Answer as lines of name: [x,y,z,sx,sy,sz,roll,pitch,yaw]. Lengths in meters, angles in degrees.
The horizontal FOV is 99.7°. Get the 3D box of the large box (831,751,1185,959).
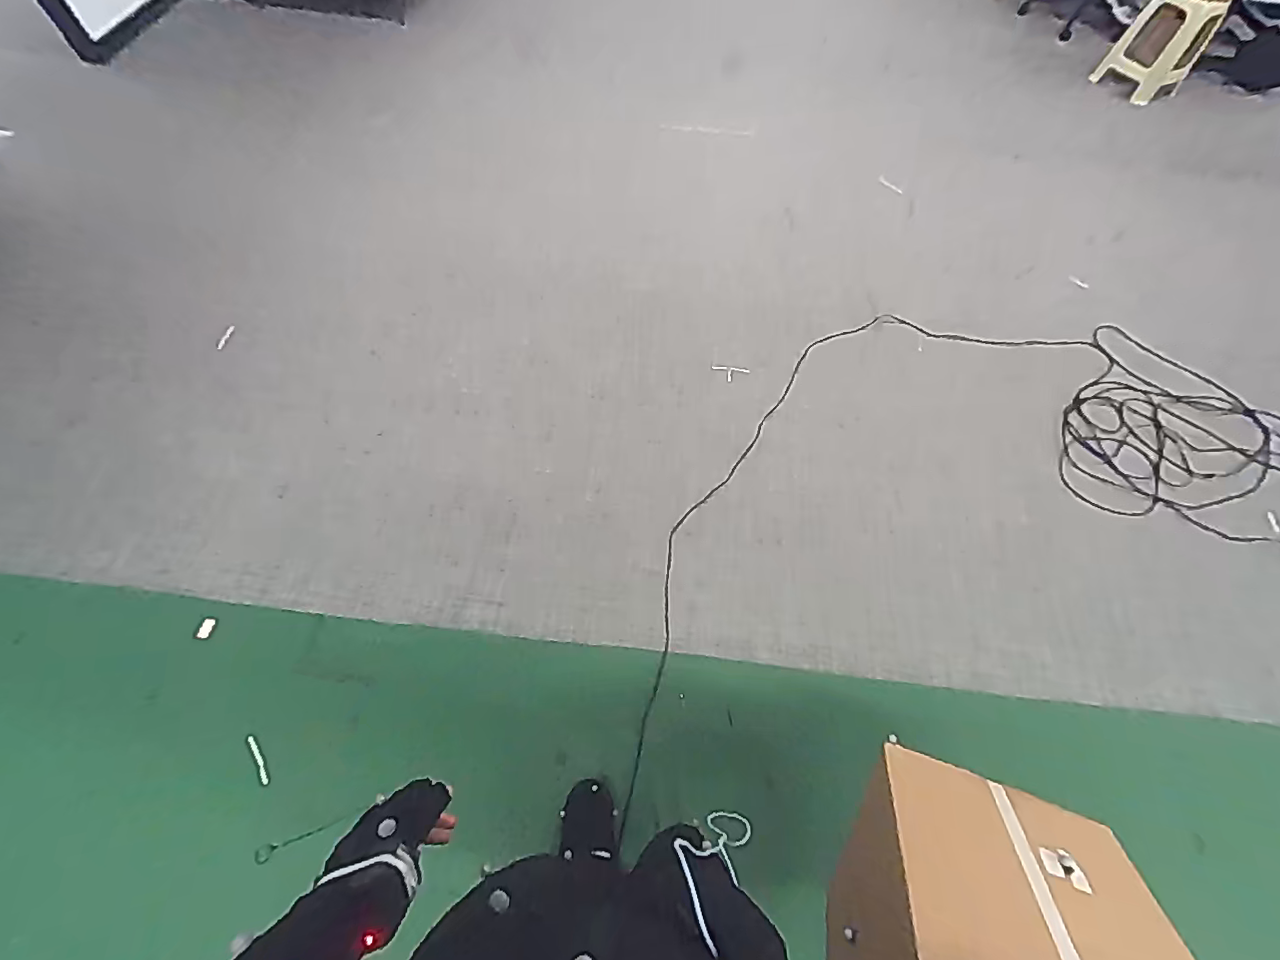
large box: [0.432,0.638,0.661,0.320,0.408,0.320,17,103,16]
